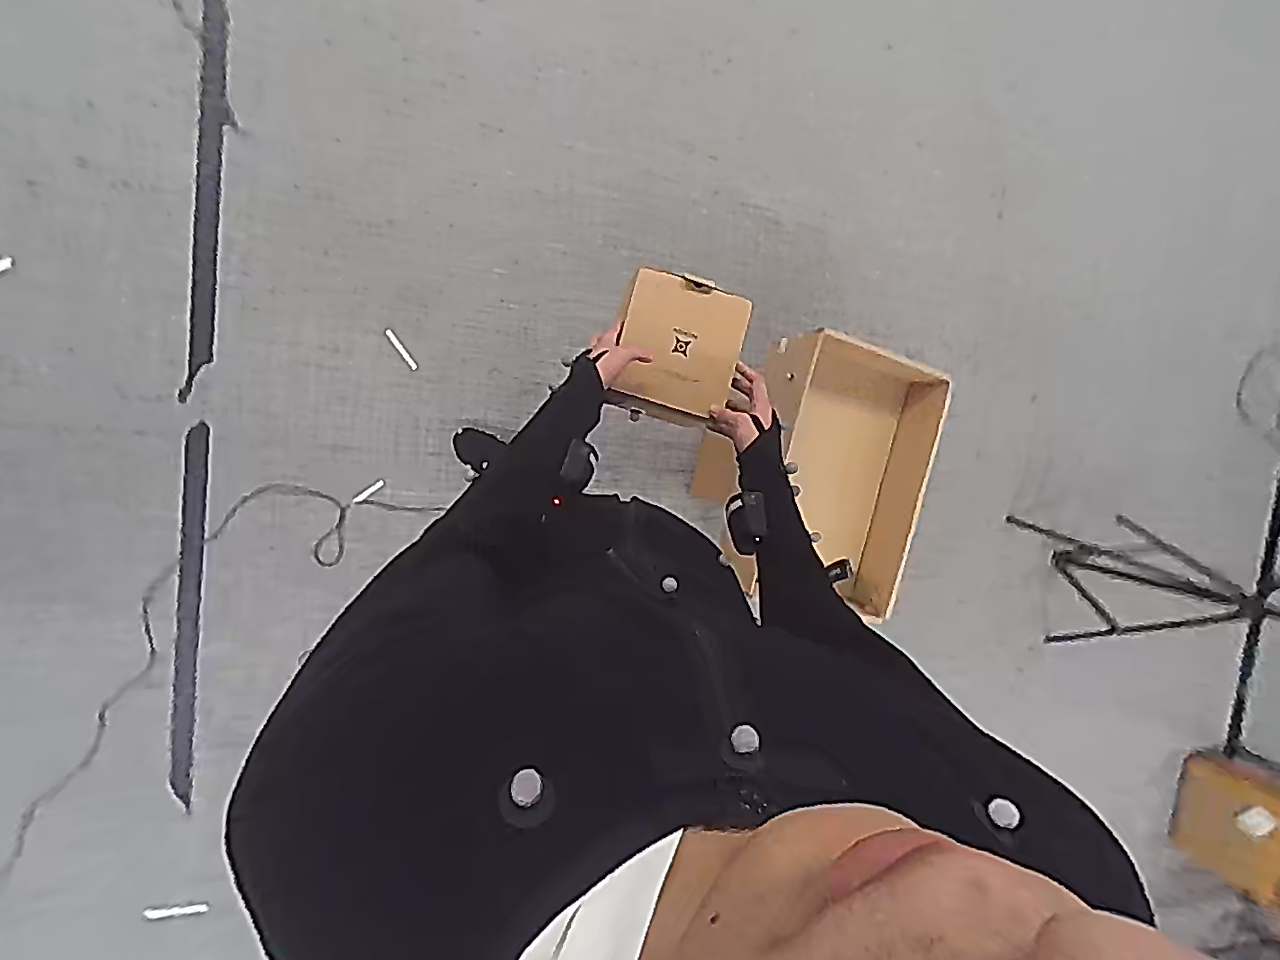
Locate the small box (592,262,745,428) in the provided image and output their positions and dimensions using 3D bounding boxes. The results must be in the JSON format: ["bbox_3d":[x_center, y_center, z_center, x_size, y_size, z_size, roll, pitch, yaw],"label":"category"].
[{"bbox_3d":[0.031,-0.184,0.794,0.168,0.176,0.179,15,89,-11],"label":"small box"}]
